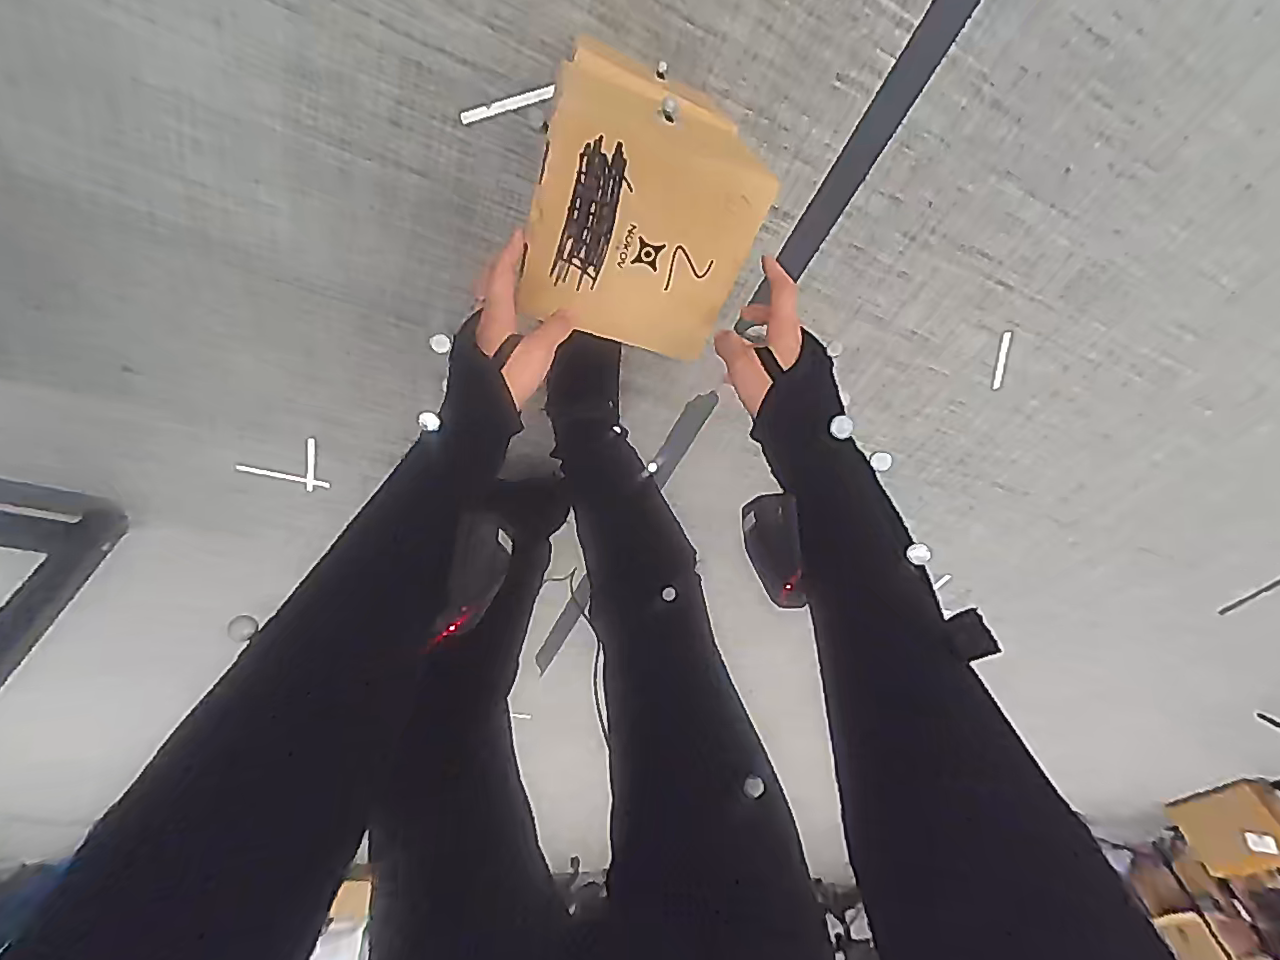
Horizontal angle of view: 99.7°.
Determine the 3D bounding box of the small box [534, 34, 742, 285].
[{"bbox_3d":[-0.013,-0.358,0.605,0.168,0.176,0.179,14,131,-18],"label":"small box"}]
